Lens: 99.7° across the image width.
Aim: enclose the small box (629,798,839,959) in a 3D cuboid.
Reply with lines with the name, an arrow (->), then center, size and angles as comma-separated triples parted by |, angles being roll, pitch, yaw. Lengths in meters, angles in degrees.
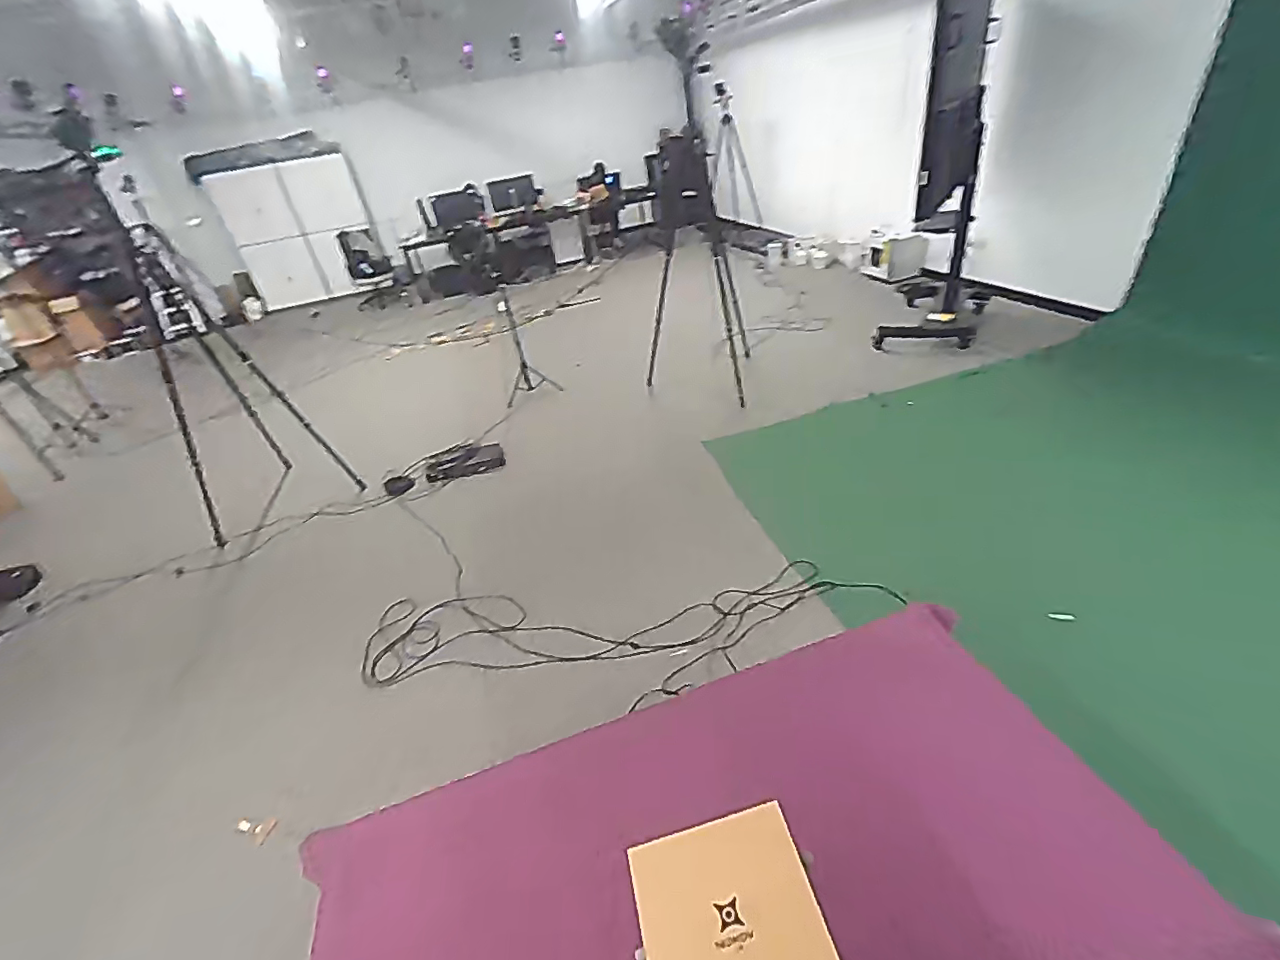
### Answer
small box -> 0.096, 0.460, 0.537 | 0.168, 0.176, 0.179 | -16, 38, -1
